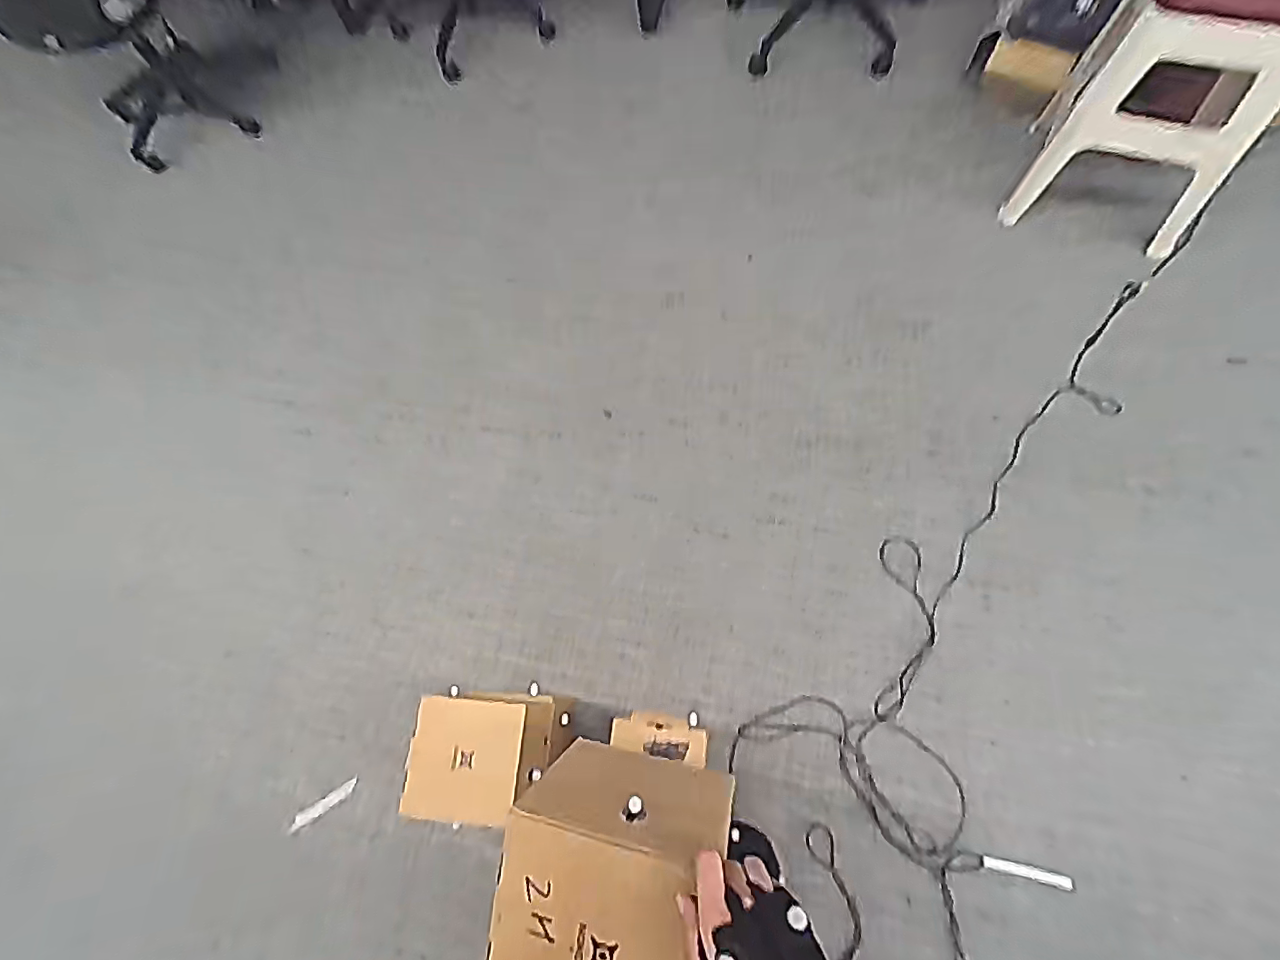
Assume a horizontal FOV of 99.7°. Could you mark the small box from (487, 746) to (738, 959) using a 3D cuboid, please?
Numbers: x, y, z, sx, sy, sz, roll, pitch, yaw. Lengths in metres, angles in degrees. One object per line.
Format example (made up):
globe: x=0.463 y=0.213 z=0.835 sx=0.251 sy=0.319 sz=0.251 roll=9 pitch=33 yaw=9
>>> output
small box: x=-0.012 y=0.361 z=0.477 sx=0.179 sy=0.176 sz=0.168 roll=7 pitch=85 yaw=15

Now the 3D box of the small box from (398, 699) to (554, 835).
small box: x=-0.249 y=0.447 z=0.869 sx=0.179 sy=0.176 sz=0.168 roll=1 pitch=68 yaw=9

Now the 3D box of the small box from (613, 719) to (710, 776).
small box: x=0.037 y=0.534 z=0.968 sx=0.168 sy=0.176 sz=0.179 roll=4 pitch=70 yaw=10
